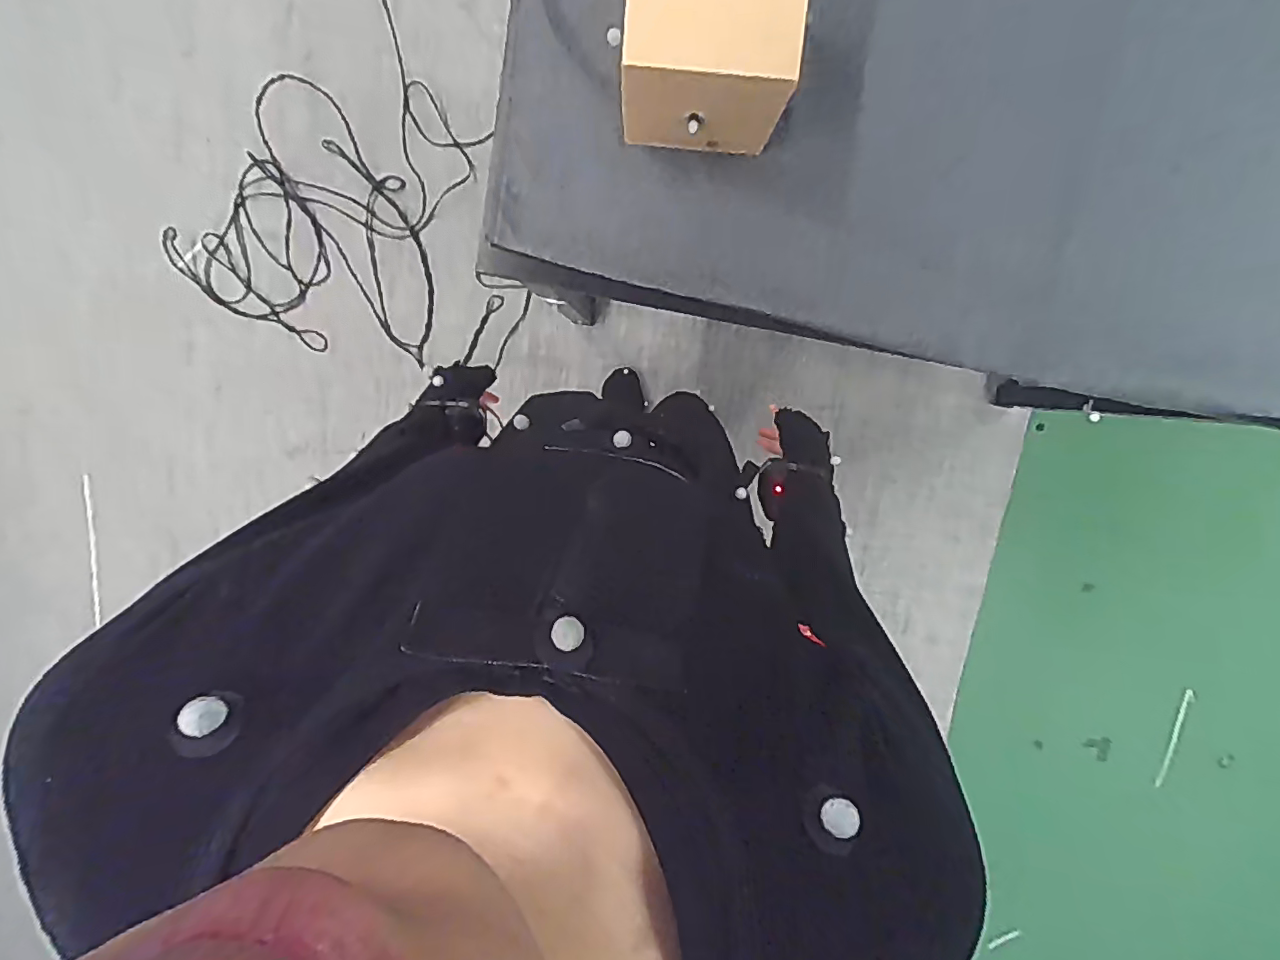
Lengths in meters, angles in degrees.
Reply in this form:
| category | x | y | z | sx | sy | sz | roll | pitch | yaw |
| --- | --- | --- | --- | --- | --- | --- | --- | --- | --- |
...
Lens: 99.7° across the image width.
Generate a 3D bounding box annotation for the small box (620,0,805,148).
| category | x | y | z | sx | sy | sz | roll | pitch | yaw |
| --- | --- | --- | --- | --- | --- | --- | --- | --- | --- |
| small box | 0.070 | -0.473 | 0.559 | 0.168 | 0.176 | 0.179 | 4 | 100 | -2 |
